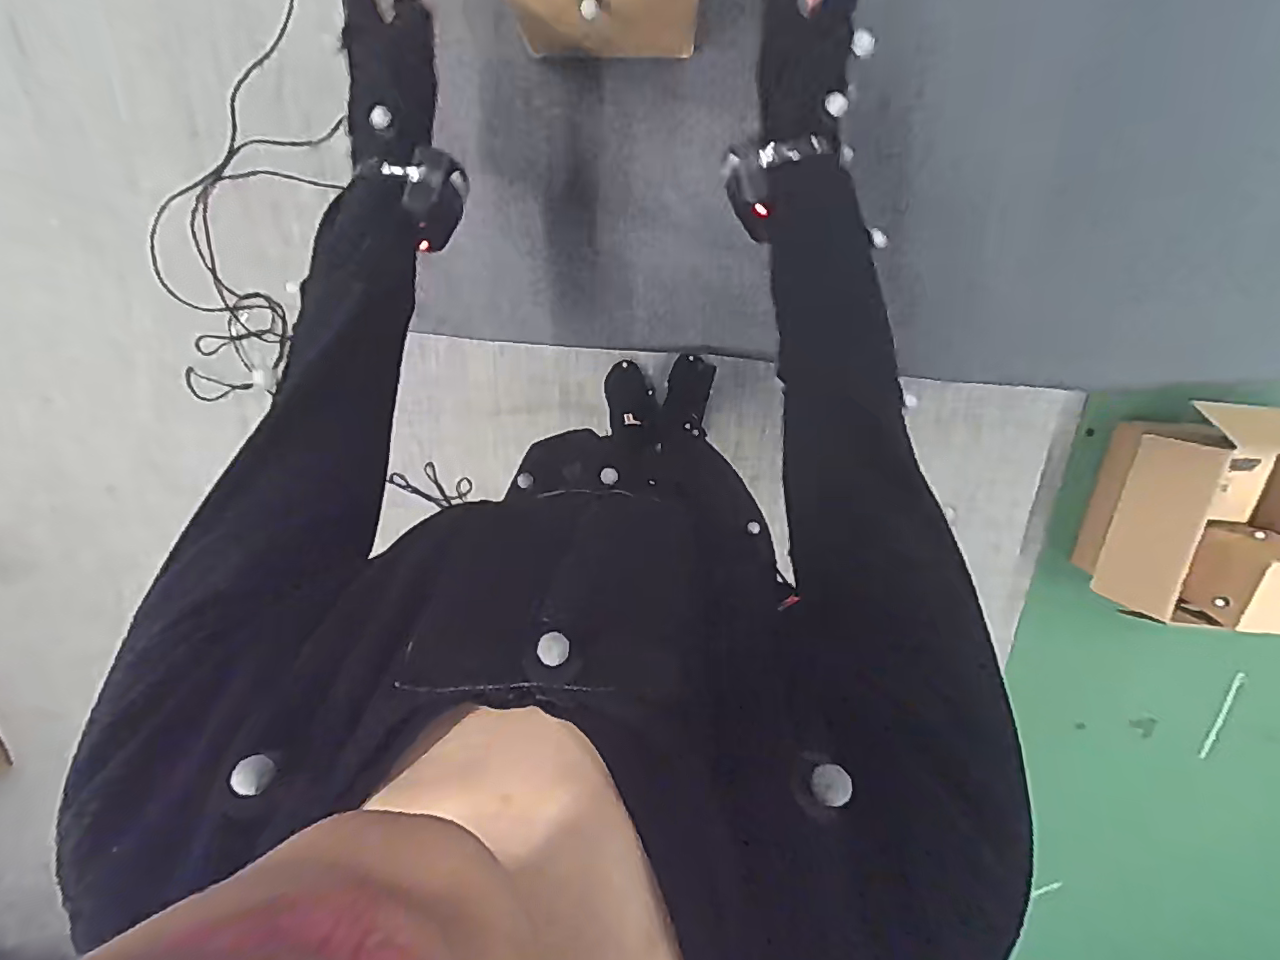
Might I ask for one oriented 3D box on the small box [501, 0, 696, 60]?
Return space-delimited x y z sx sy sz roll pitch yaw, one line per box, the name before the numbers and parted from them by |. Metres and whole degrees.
small box | -0.032 -0.505 0.480 0.179 0.176 0.168 3 109 3
